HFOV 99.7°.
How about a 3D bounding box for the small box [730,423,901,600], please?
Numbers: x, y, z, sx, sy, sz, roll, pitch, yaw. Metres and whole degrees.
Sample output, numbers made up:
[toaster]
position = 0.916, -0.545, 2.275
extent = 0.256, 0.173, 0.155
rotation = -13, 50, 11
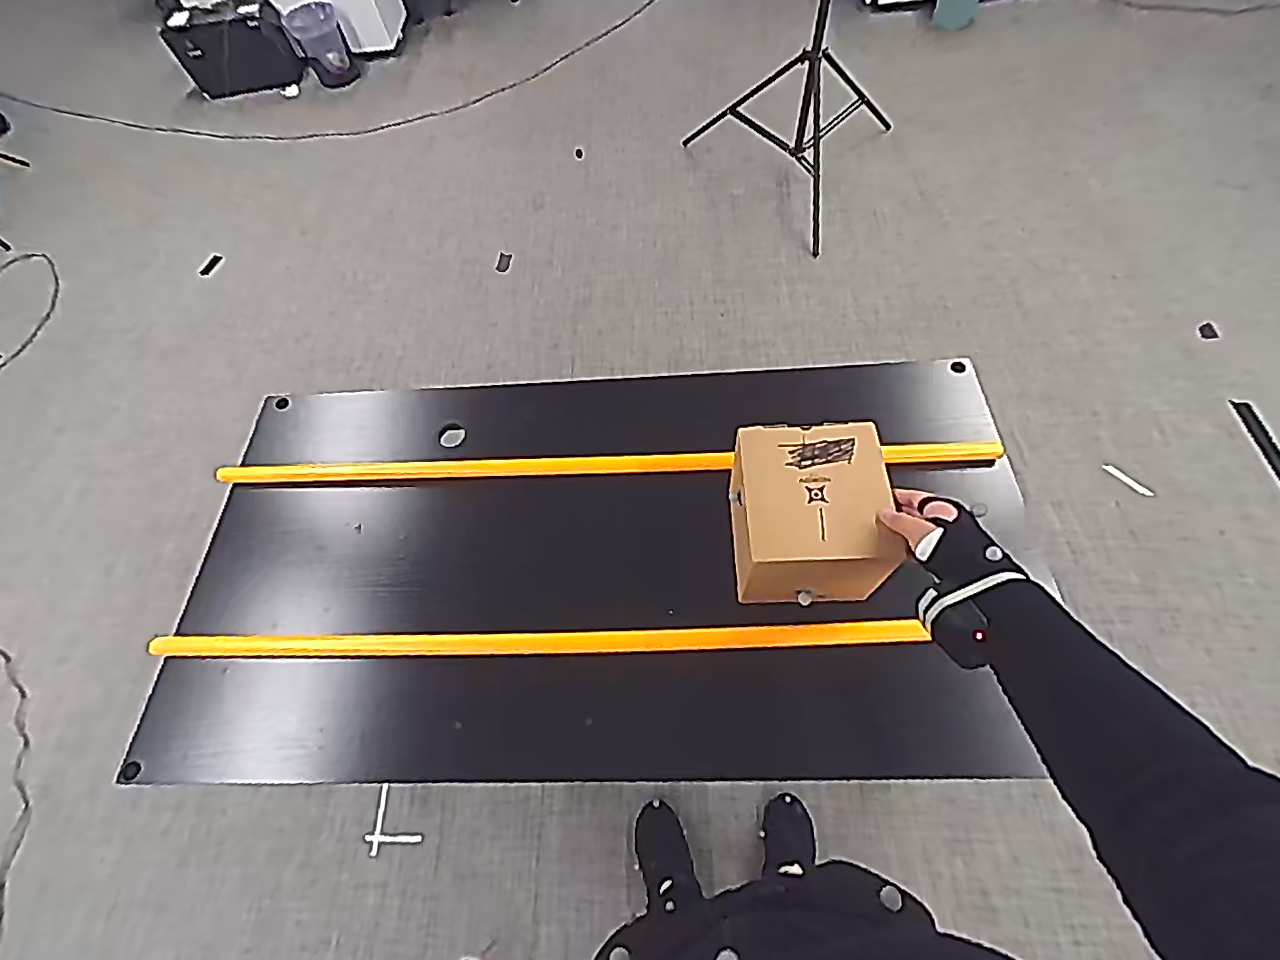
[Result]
[small box]
position = 0.208, 0.046, 0.697
extent = 0.168, 0.176, 0.179
rotation = -2, 62, 5
